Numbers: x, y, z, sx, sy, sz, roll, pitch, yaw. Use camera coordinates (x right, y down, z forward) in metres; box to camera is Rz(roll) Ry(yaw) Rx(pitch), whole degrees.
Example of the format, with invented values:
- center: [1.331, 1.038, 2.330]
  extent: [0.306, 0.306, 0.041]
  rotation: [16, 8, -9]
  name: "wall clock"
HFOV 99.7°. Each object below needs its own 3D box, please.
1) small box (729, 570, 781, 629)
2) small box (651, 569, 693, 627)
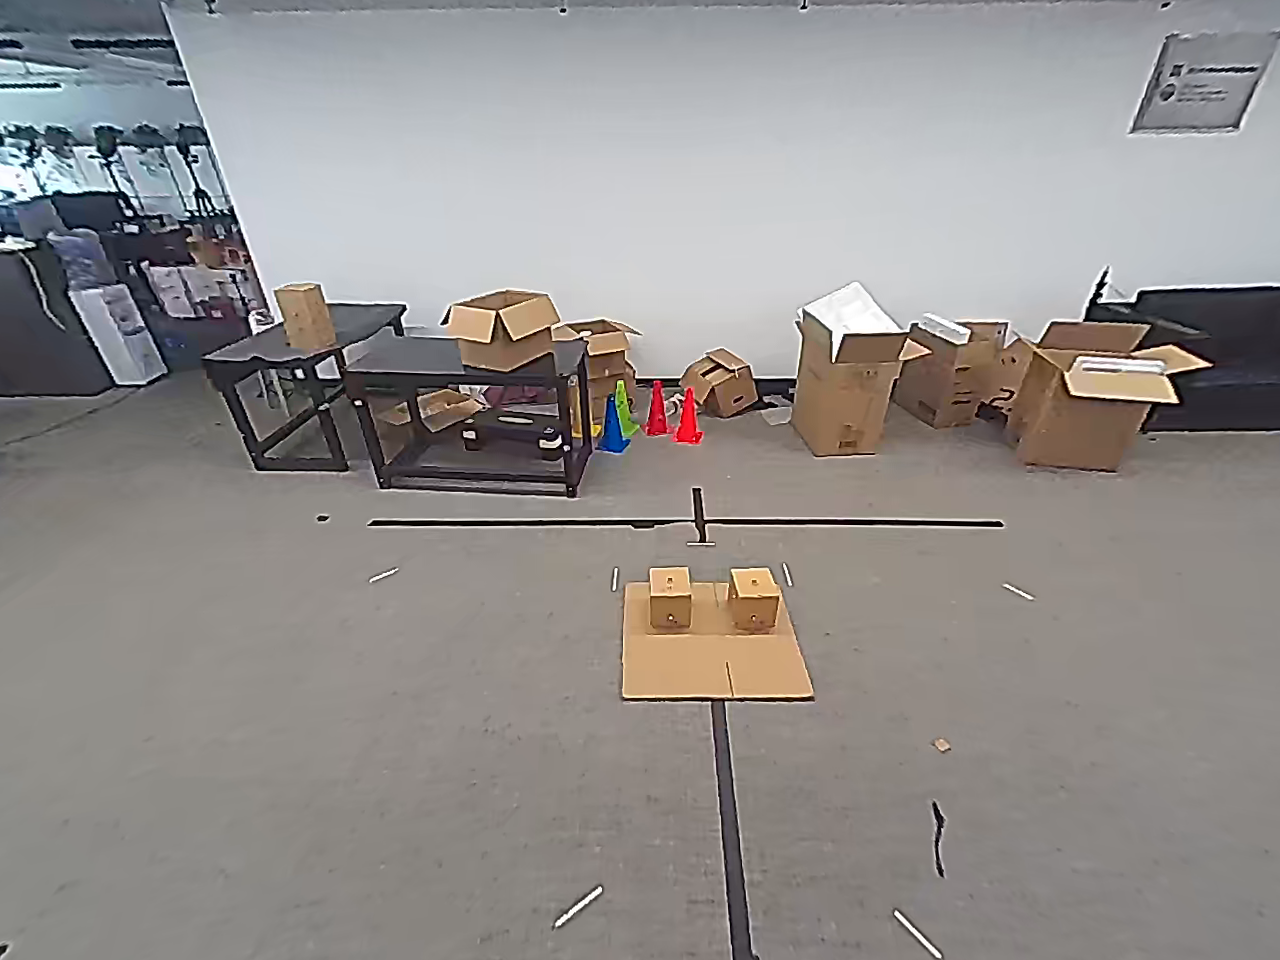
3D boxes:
- center: [0.474, 0.497, 2.255]
  extent: [0.168, 0.176, 0.179]
  rotation: [-2, 31, -3]
  name: "small box"
- center: [0.130, 0.493, 2.256]
  extent: [0.168, 0.176, 0.179]
  rotation: [-1, 31, 1]
  name: "small box"
